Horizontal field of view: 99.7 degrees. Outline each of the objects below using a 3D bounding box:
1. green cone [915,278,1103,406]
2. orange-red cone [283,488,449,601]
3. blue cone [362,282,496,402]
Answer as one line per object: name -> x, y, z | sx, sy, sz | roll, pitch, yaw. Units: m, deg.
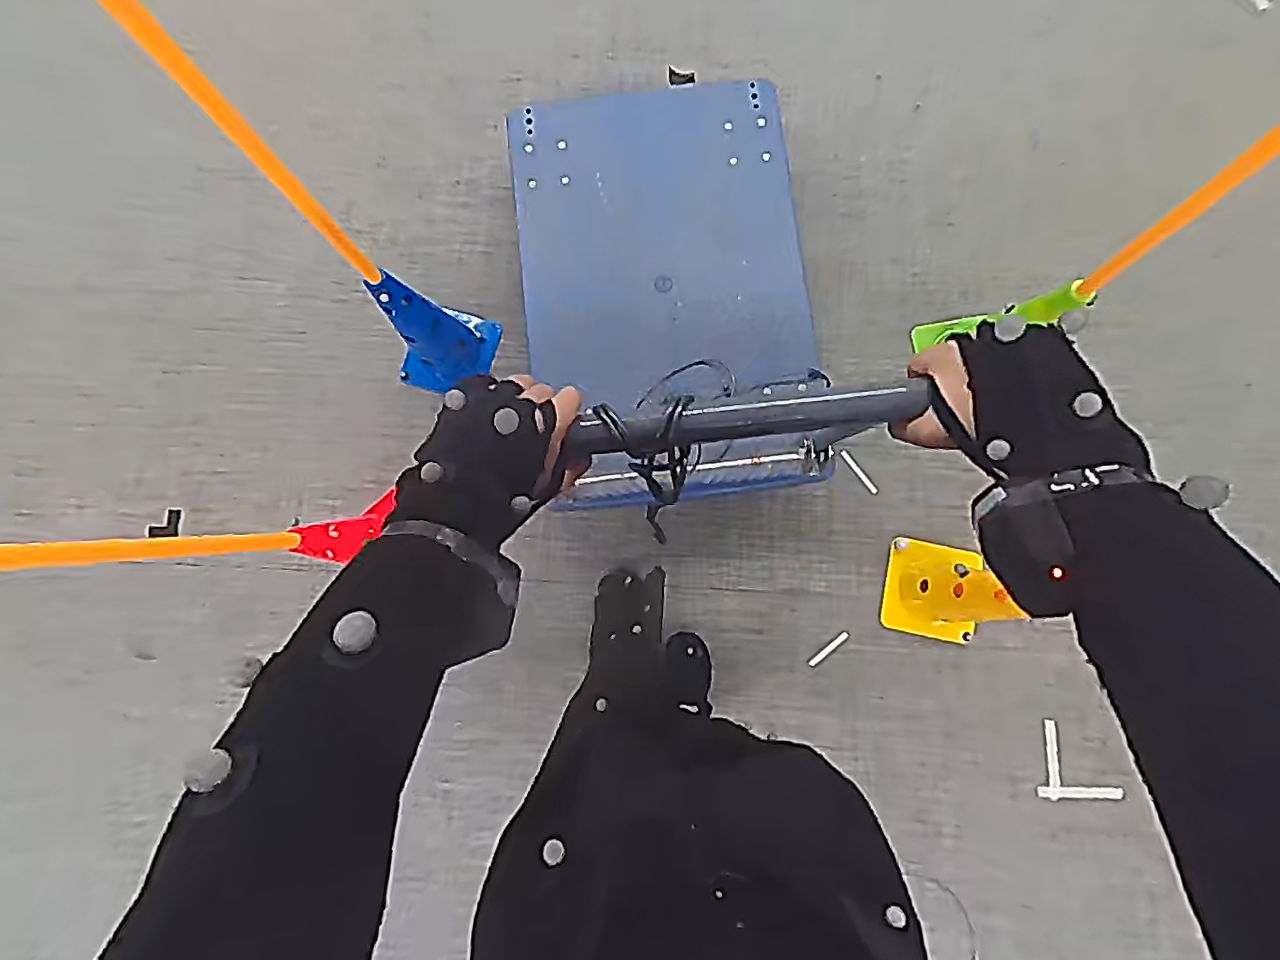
green cone -> 0.732, -0.296, 1.056 | 0.200, 0.368, 0.202 | -11, 84, 0
orange-red cone -> -0.551, 0.118, 1.034 | 0.199, 0.360, 0.198 | -41, 84, -5
blue cone -> -0.448, -0.308, 1.103 | 0.193, 0.380, 0.192 | 18, 84, 4
